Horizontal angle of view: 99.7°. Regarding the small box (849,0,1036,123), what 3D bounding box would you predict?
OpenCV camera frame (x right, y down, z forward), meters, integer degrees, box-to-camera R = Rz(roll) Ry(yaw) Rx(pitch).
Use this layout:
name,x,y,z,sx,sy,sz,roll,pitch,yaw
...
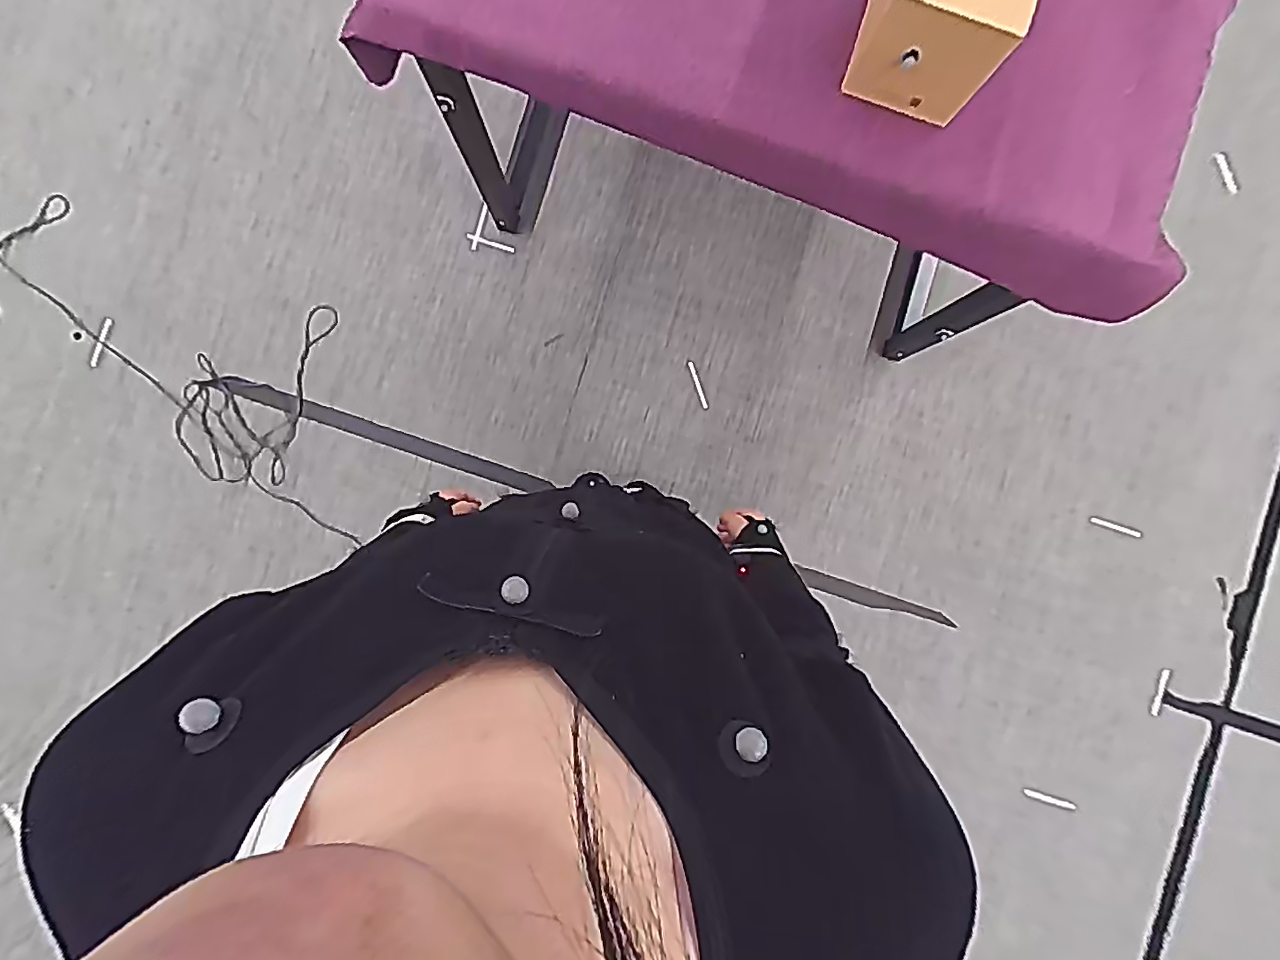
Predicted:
name,x,y,z,sx,sy,sz,roll,pitch,yaw
small box,0.404,-0.628,0.723,0.168,0.176,0.179,18,88,-1
